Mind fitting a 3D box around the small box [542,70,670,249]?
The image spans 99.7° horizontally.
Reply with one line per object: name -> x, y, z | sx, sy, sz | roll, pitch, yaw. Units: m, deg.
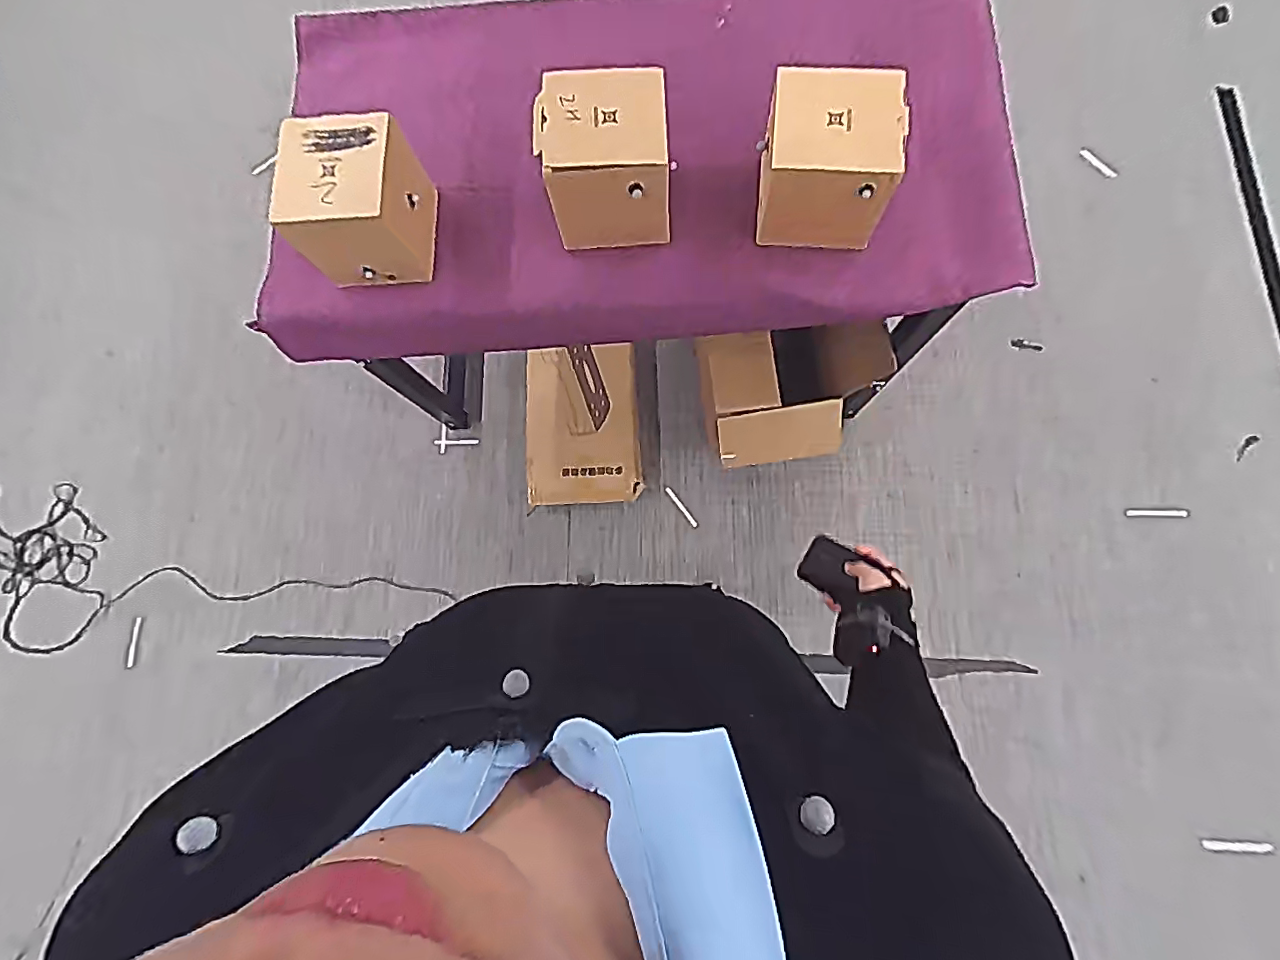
small box -> -0.045, -0.479, 0.828 | 0.179, 0.176, 0.168 | -3, 76, 3

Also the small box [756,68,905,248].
small box -> 0.273, -0.469, 0.806 | 0.179, 0.176, 0.168 | 5, 79, 5
